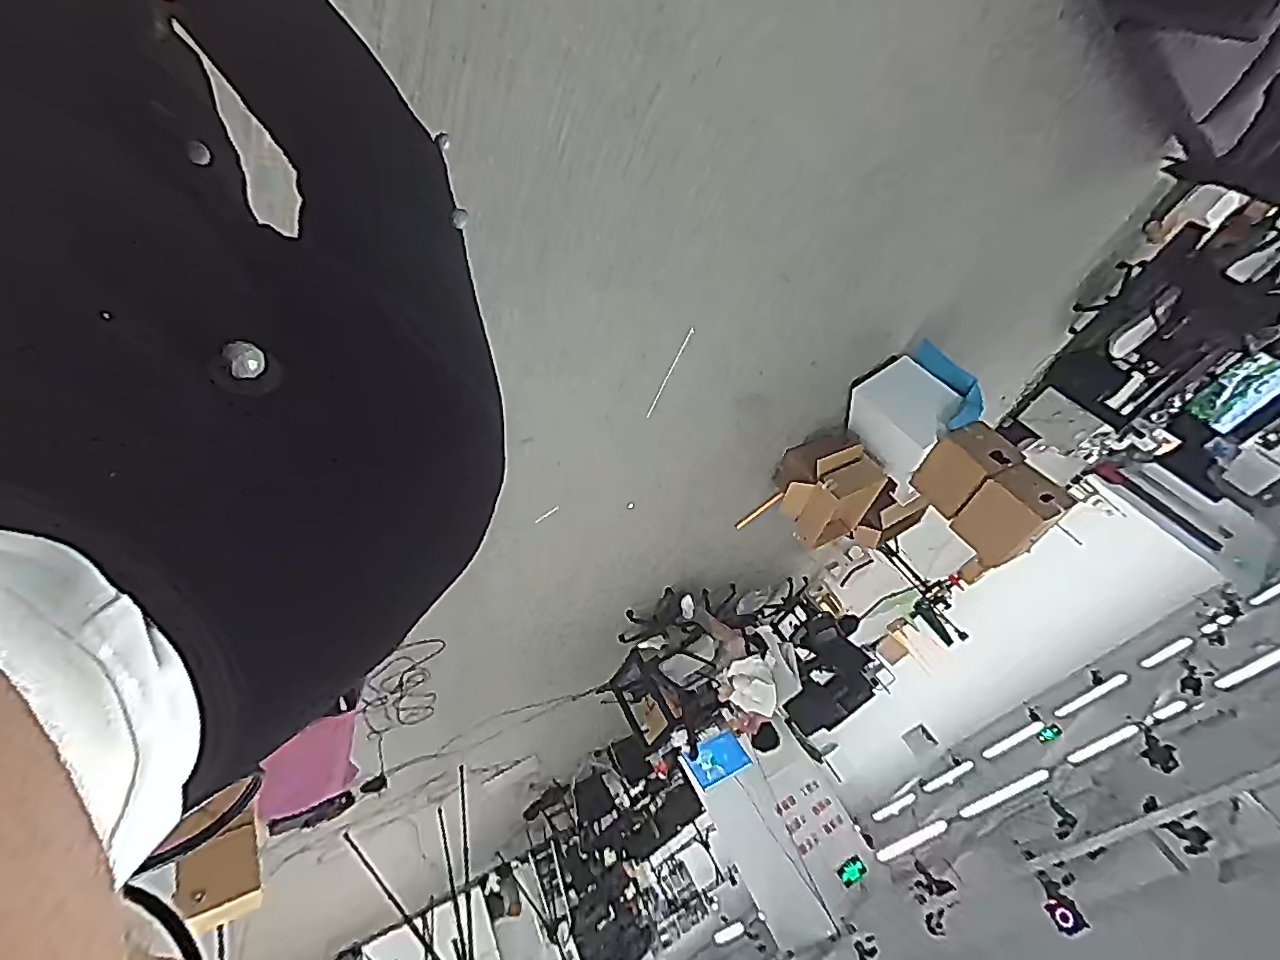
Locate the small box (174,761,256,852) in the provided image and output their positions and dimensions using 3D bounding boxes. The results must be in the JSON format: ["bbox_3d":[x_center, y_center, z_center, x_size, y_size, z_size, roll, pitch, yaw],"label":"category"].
[{"bbox_3d":[-1.216,0.949,1.551,0.179,0.176,0.168,-7,138,-37],"label":"small box"}]

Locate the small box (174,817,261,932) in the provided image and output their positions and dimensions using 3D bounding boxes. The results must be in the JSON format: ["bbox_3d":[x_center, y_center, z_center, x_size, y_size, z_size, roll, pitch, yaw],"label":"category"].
[{"bbox_3d":[-1.132,1.053,1.453,0.179,0.176,0.168,-5,138,-38],"label":"small box"}]
